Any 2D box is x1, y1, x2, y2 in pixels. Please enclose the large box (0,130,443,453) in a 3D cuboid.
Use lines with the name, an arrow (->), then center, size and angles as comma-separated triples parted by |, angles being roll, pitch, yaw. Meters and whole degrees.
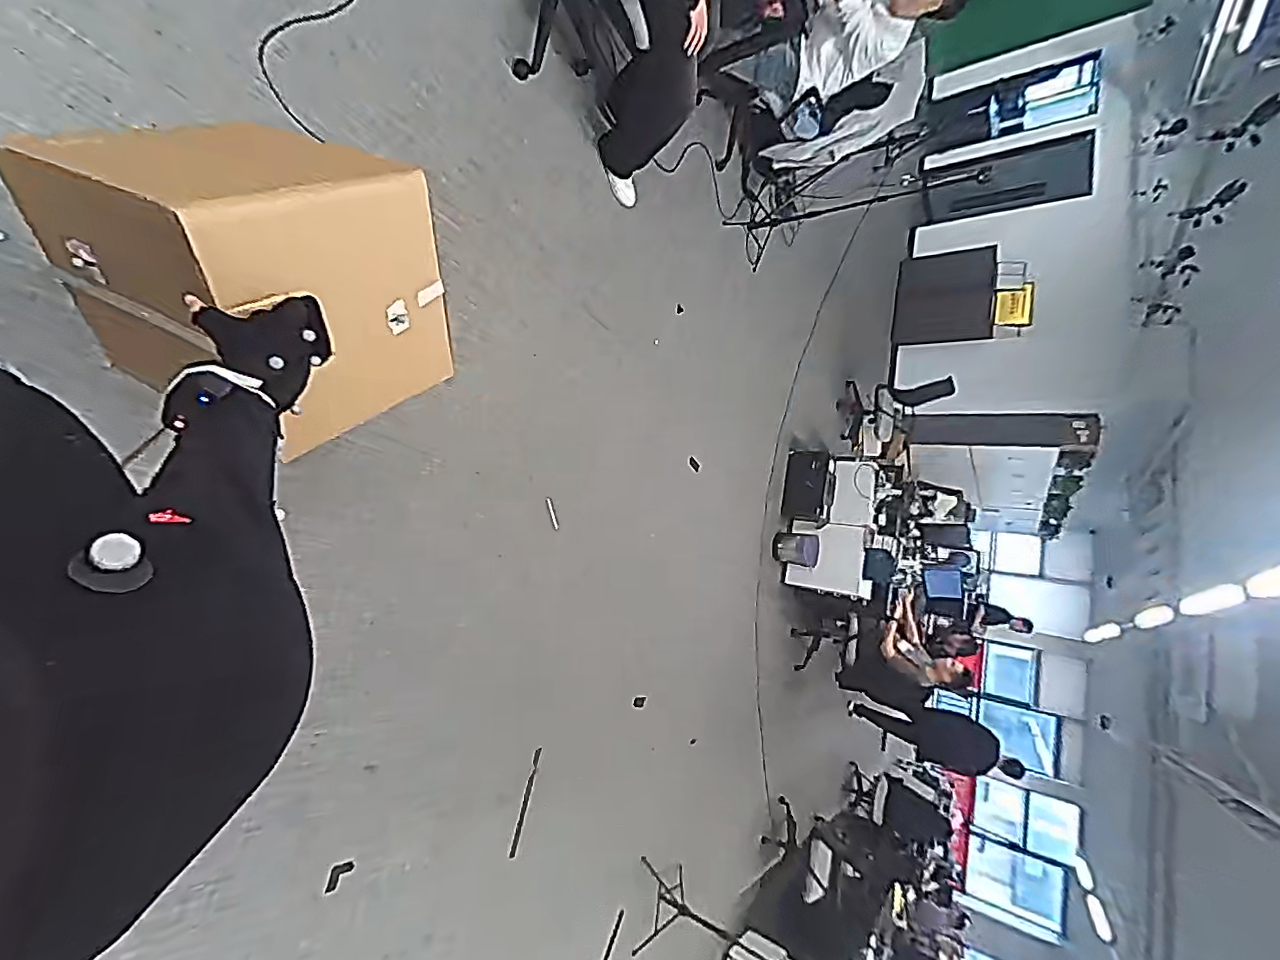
large box -> -0.563, -0.299, 0.792 | 0.320, 0.408, 0.320 | -44, 151, -45
